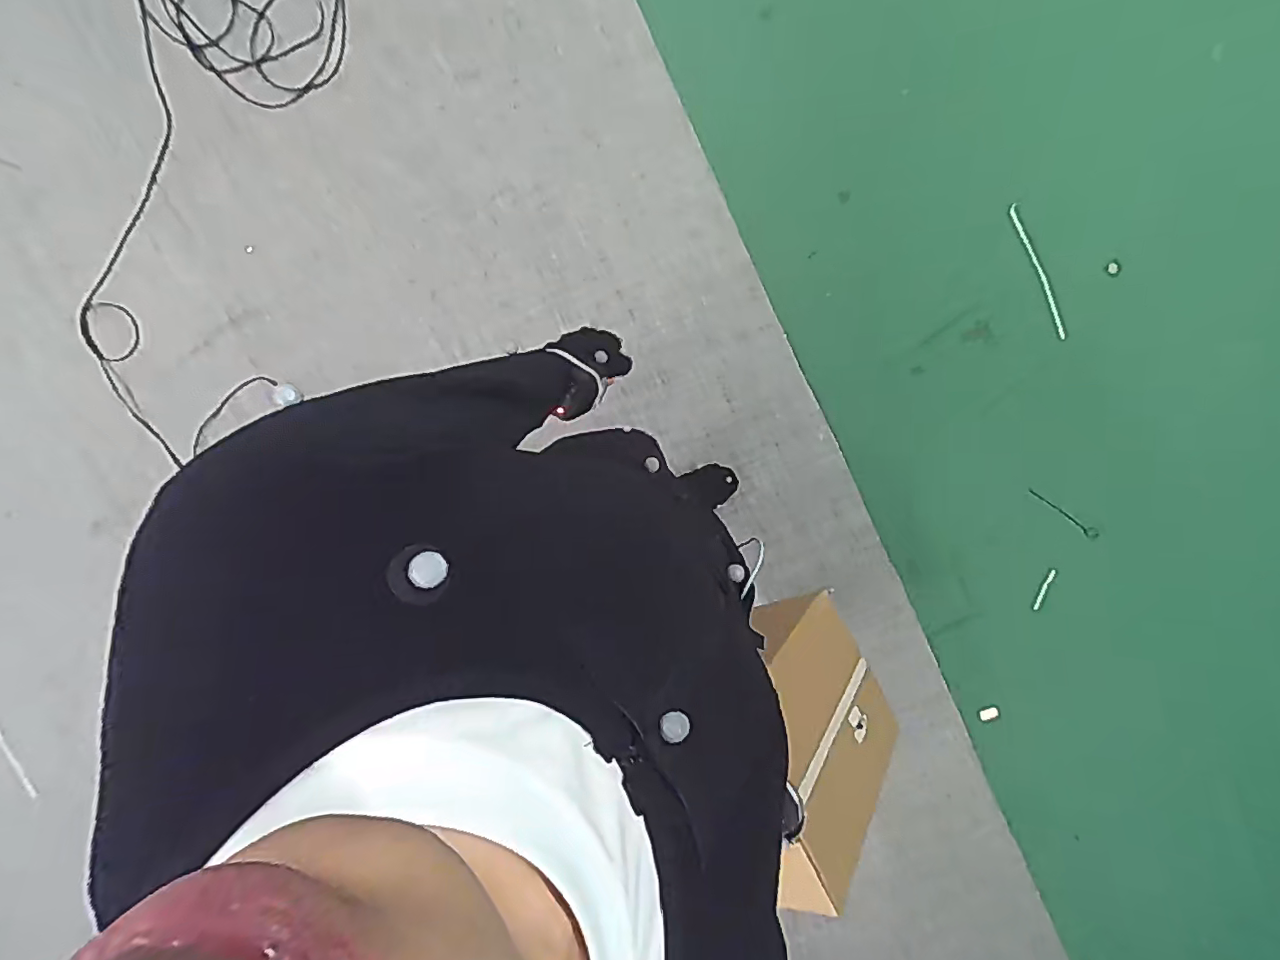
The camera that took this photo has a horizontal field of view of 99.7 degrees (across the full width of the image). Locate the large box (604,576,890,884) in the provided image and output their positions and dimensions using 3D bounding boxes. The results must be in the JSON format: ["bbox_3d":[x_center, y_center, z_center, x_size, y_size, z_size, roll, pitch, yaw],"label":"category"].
[{"bbox_3d":[0.211,0.437,1.007,0.320,0.408,0.320,-27,90,39],"label":"large box"}]
